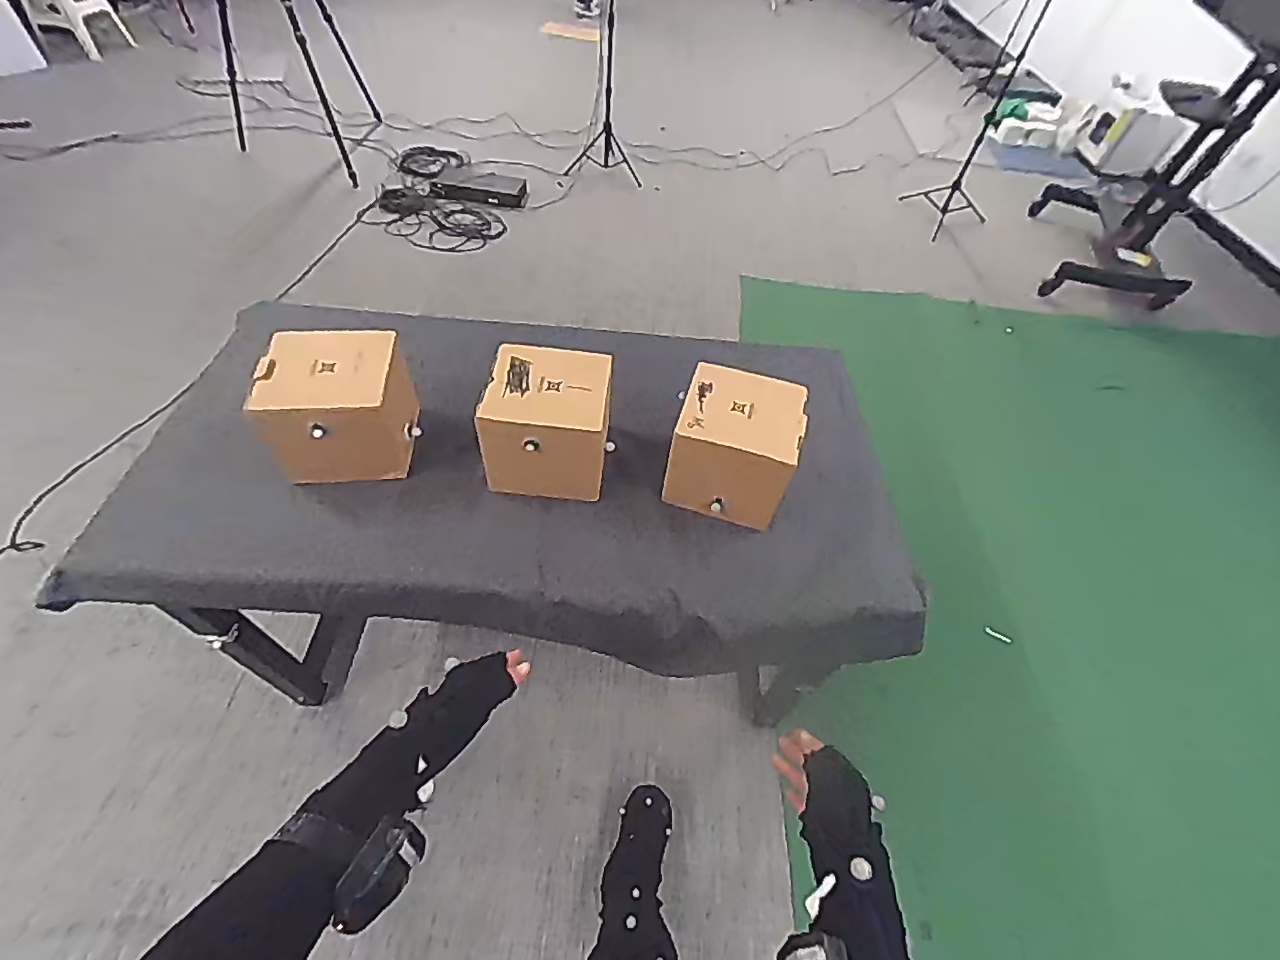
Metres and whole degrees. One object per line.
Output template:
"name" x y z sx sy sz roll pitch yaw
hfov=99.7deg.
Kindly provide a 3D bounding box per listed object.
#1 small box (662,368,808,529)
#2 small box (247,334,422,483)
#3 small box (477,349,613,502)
"small box" 0.145 -0.044 0.856 0.179 0.176 0.168 16 52 6
"small box" -0.455 -0.107 0.841 0.179 0.176 0.168 -2 54 -9
"small box" -0.140 -0.082 0.853 0.179 0.176 0.168 6 52 -2
